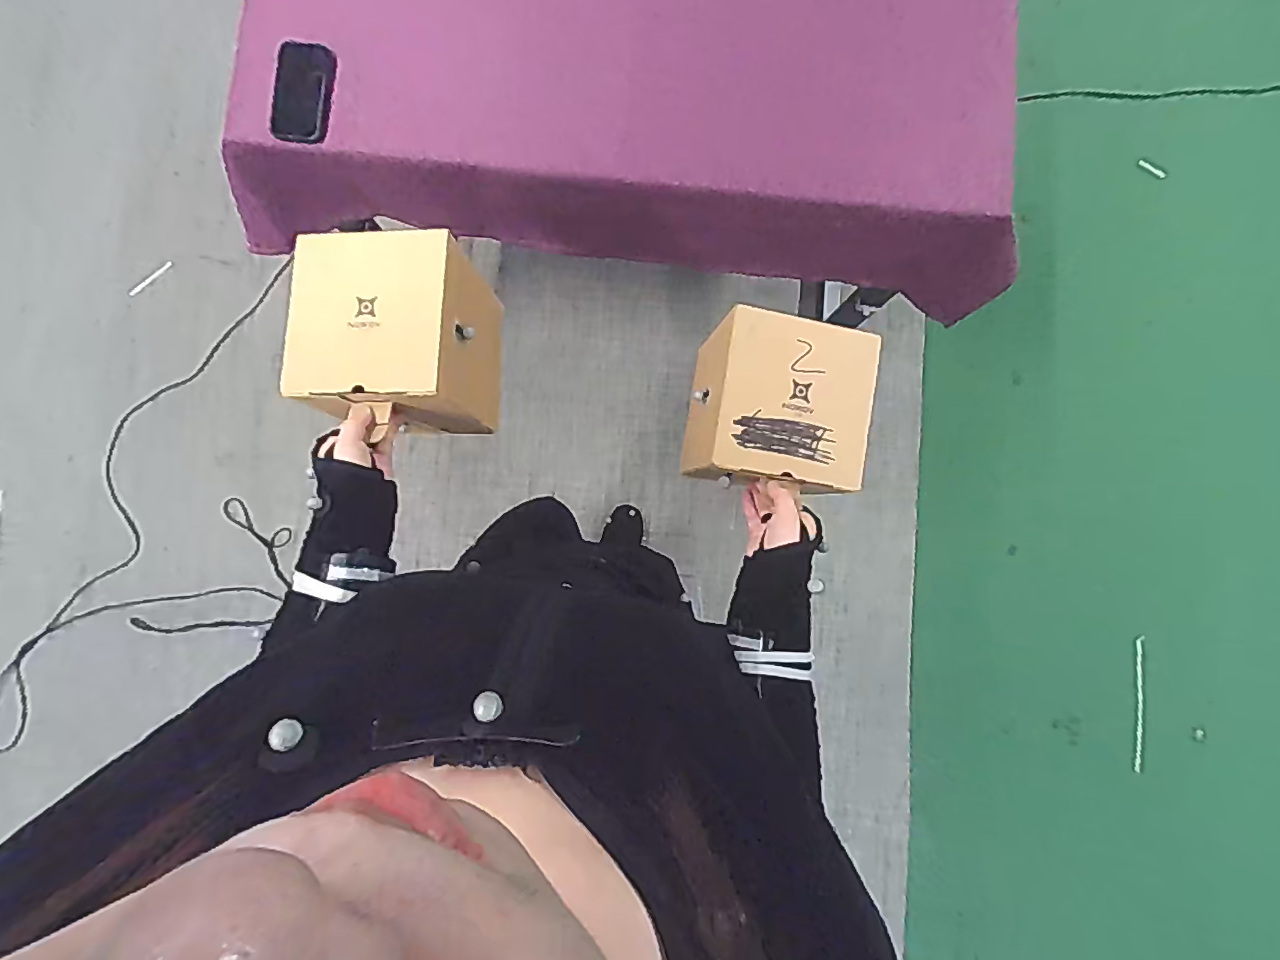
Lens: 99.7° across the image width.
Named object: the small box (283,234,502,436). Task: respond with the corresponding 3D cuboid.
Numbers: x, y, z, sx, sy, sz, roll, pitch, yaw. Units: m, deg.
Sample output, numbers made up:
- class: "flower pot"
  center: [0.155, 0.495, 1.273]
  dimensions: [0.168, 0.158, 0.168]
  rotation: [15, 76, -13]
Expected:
- class: "small box"
  center: [-0.266, -0.155, 0.622]
  dimensions: [0.168, 0.176, 0.179]
  rotation: [1, 83, 4]
